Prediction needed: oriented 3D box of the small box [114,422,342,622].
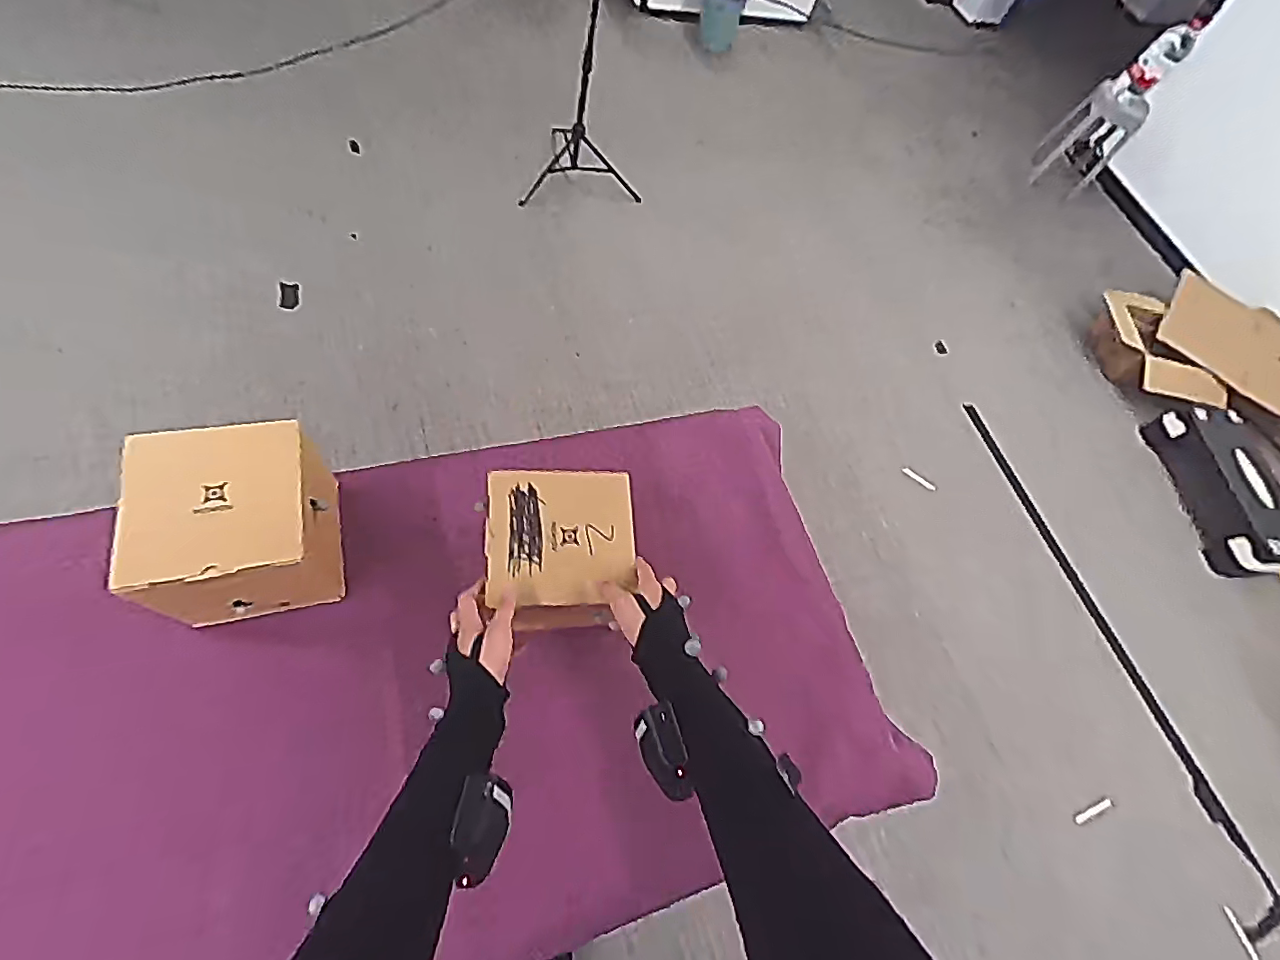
[{"bbox_3d":[-0.467,0.053,0.644,0.168,0.176,0.179,-9,68,-18],"label":"small box"}]
